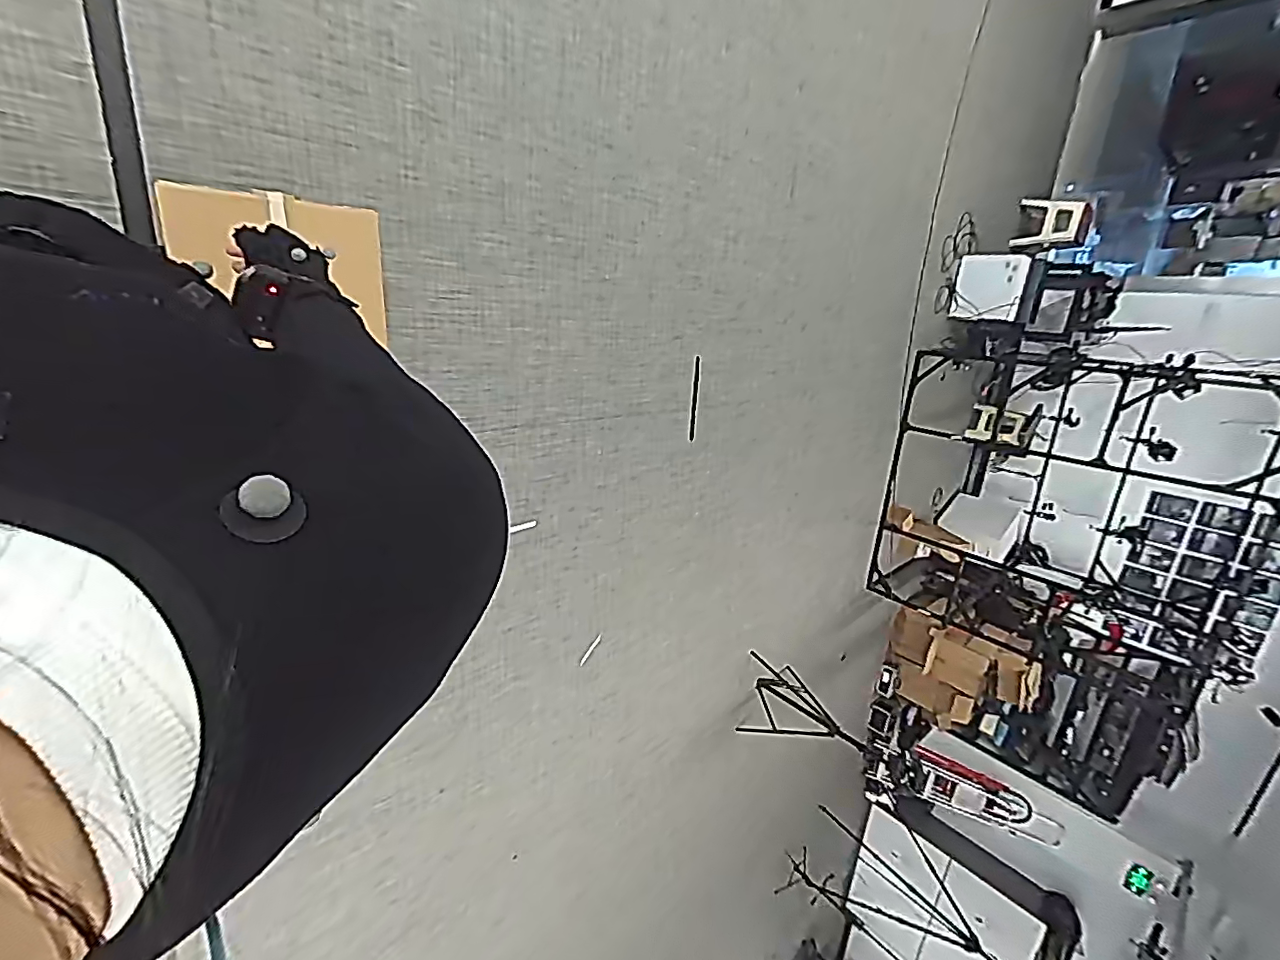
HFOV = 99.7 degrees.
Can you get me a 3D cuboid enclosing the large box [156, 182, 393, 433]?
[{"bbox_3d":[-0.709,-0.335,1.077,0.320,0.320,0.408,-9,113,-35],"label":"large box"}]
